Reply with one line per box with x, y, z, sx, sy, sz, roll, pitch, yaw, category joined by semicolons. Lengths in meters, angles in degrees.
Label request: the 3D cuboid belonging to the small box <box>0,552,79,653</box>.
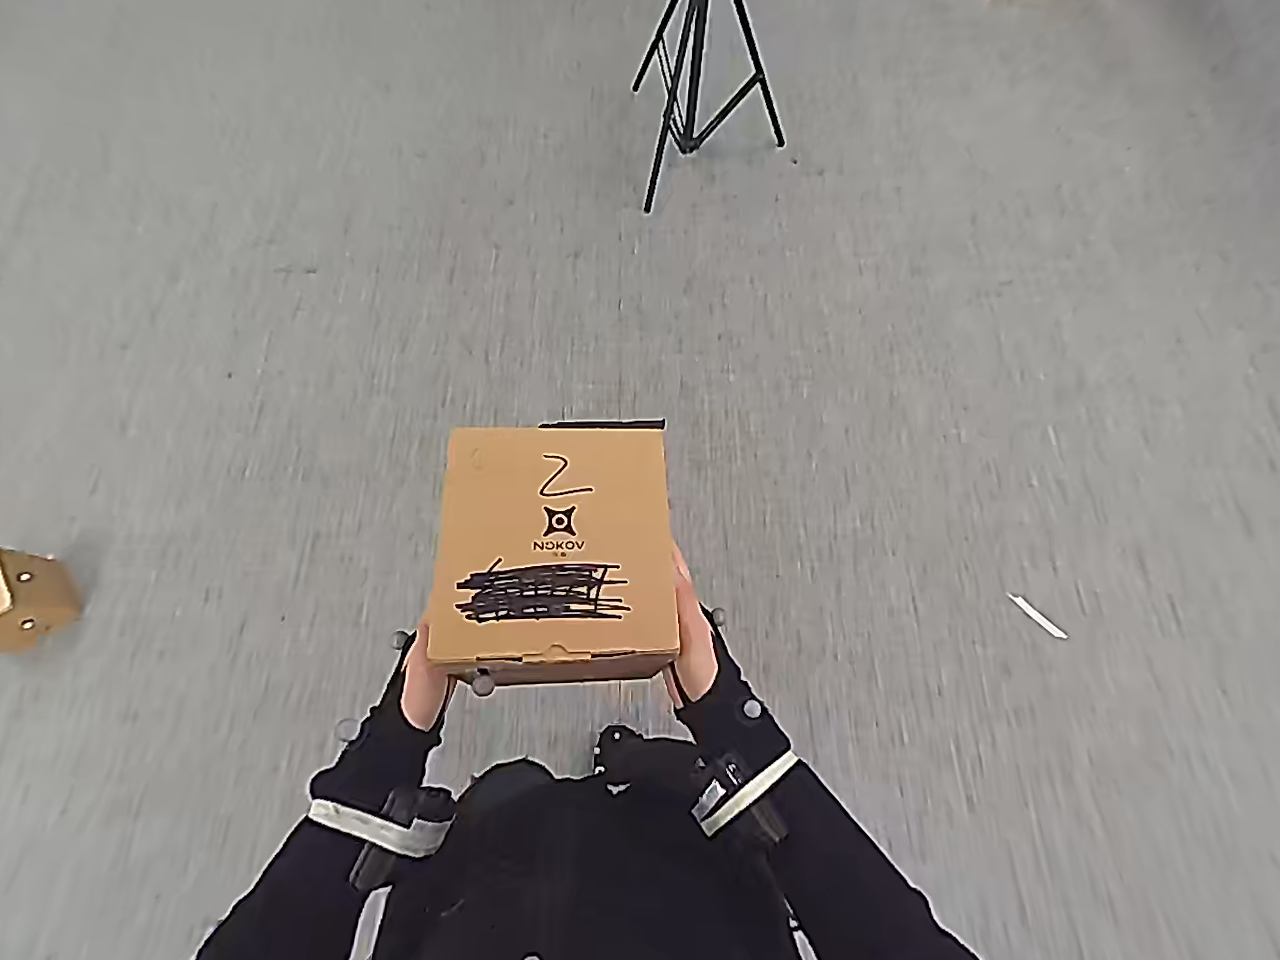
-1.512;0.297;1.287;0.168;0.176;0.179;-36;73;-14;small box
